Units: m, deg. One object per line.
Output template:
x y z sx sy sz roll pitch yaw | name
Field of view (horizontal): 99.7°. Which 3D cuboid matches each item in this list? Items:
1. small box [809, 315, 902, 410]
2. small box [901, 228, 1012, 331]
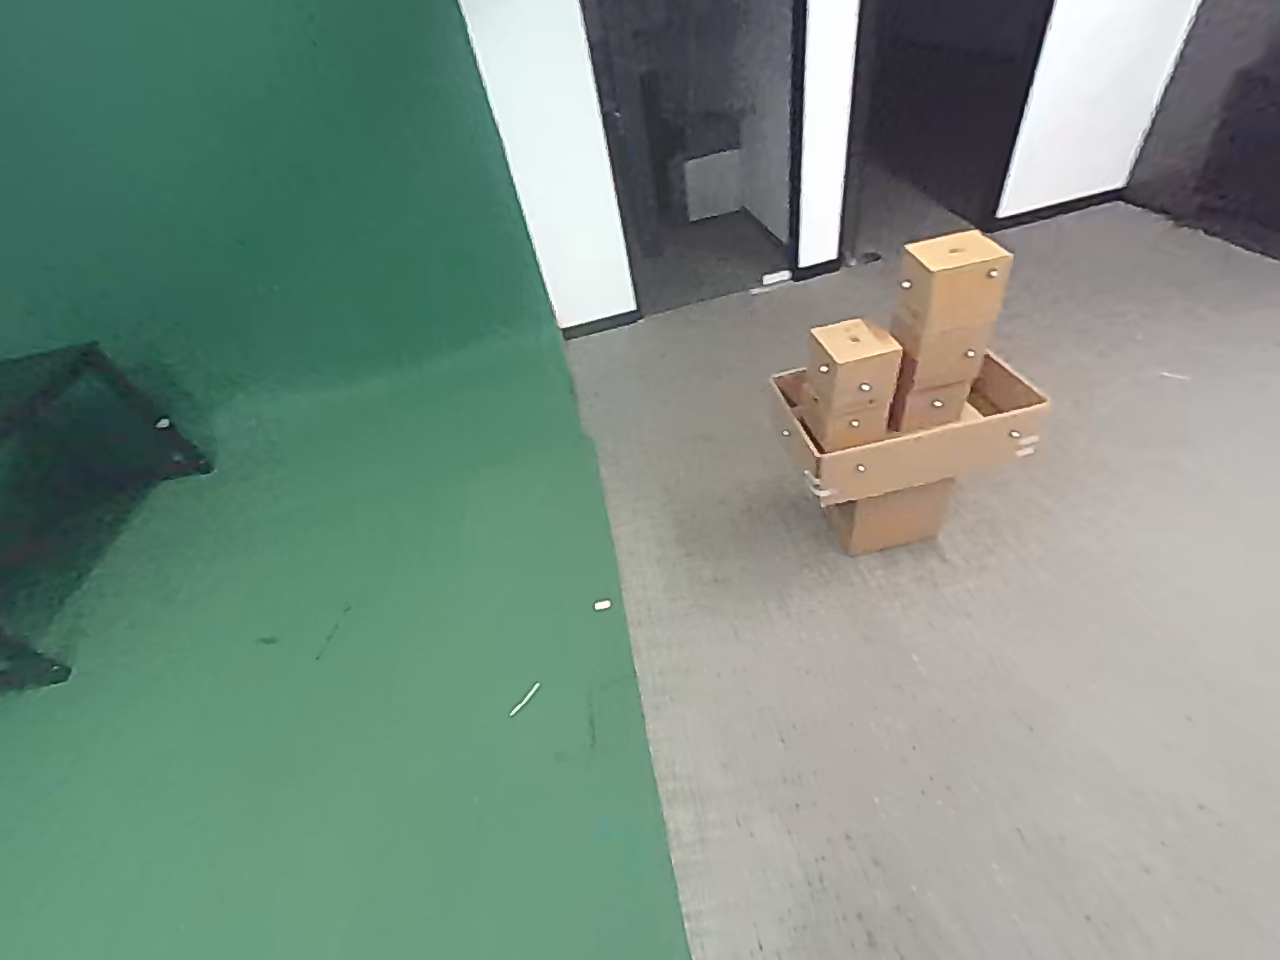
0.552 -0.299 1.409 0.168 0.176 0.179 -13 44 0 | small box
0.754 -0.482 1.314 0.179 0.176 0.168 -11 43 5 | small box
